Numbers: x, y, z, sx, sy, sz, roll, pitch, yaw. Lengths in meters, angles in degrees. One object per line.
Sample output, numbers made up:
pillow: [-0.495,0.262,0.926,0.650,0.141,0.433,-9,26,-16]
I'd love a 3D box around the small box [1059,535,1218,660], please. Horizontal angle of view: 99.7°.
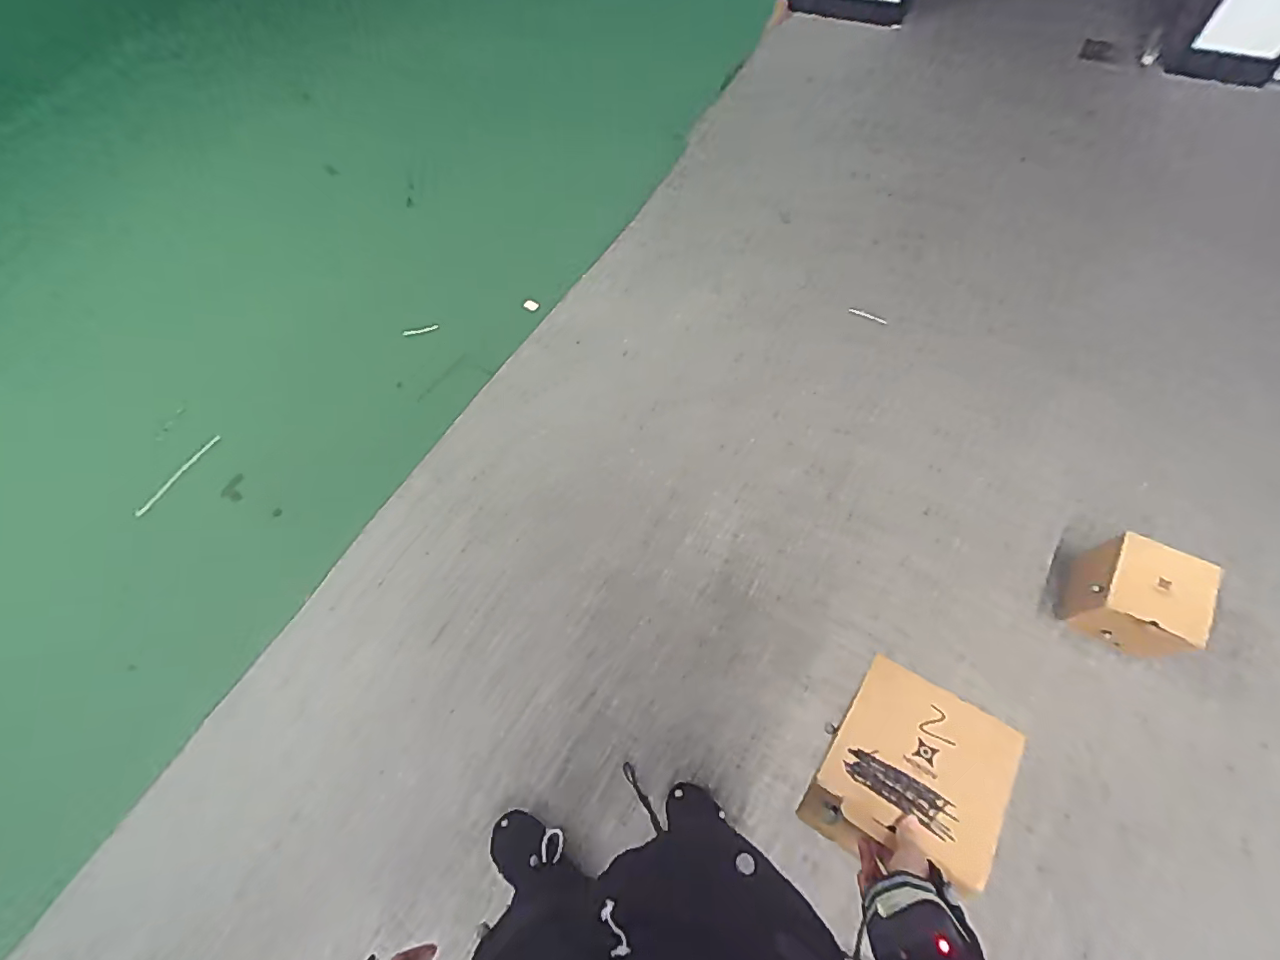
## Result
small box: [1.006,0.245,1.107,0.168,0.176,0.179,26,71,18]
